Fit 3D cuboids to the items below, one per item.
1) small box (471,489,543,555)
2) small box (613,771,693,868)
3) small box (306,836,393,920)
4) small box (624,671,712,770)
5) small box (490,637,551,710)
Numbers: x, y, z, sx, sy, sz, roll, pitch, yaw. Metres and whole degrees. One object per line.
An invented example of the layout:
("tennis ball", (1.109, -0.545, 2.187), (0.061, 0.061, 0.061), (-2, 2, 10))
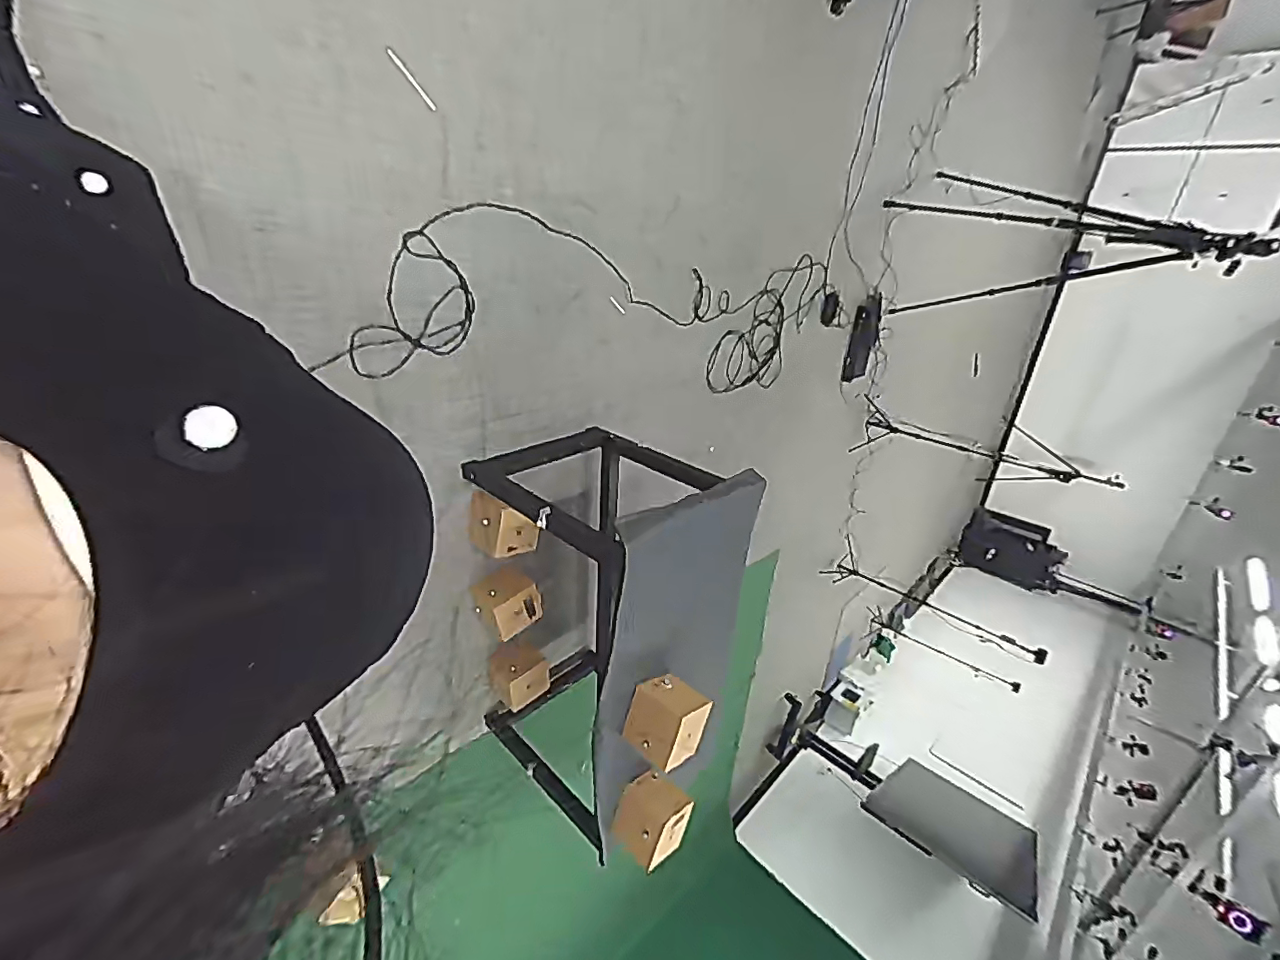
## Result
("small box", (-0.455, 0.134, 1.834), (0.168, 0.176, 0.179), (-6, 113, -47))
("small box", (0.038, 1.053, 1.703), (0.168, 0.176, 0.179), (6, 103, -52))
("small box", (-1.002, 1.368, 1.862), (0.168, 0.176, 0.179), (-51, 139, -17))
("small box", (0.075, 0.685, 1.560), (0.168, 0.176, 0.179), (4, 105, -53))
("small box", (-0.476, 0.759, 2.137), (0.179, 0.176, 0.168), (-26, 128, -39))
